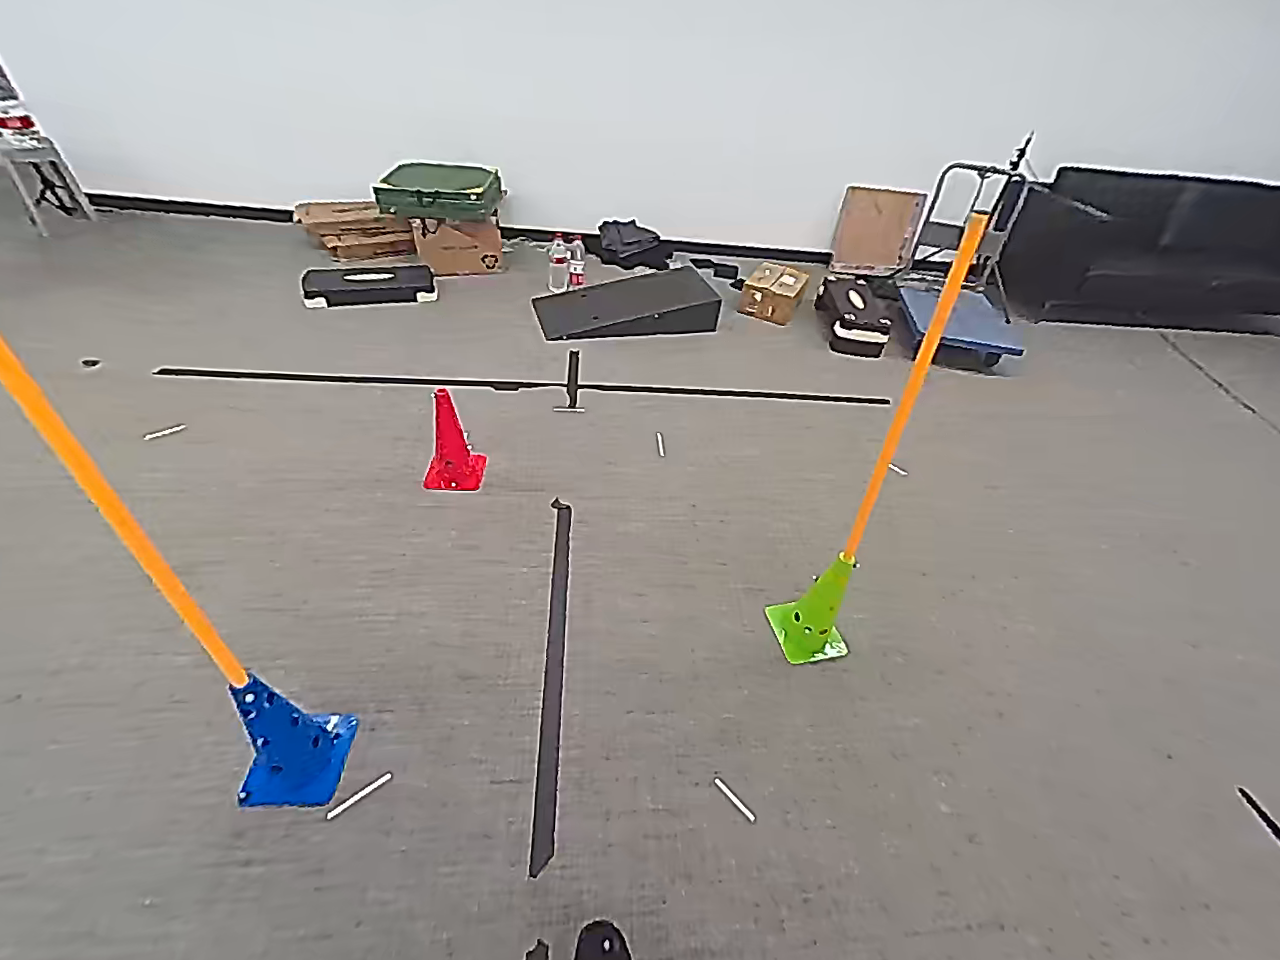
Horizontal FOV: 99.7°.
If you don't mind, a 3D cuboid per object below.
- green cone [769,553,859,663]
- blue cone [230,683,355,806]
[{"bbox_3d":[0.529,0.332,1.533,0.200,0.368,0.202,-5,45,-14],"label":"green cone"},{"bbox_3d":[-0.763,0.525,1.139,0.193,0.380,0.192,4,42,-4],"label":"blue cone"}]
